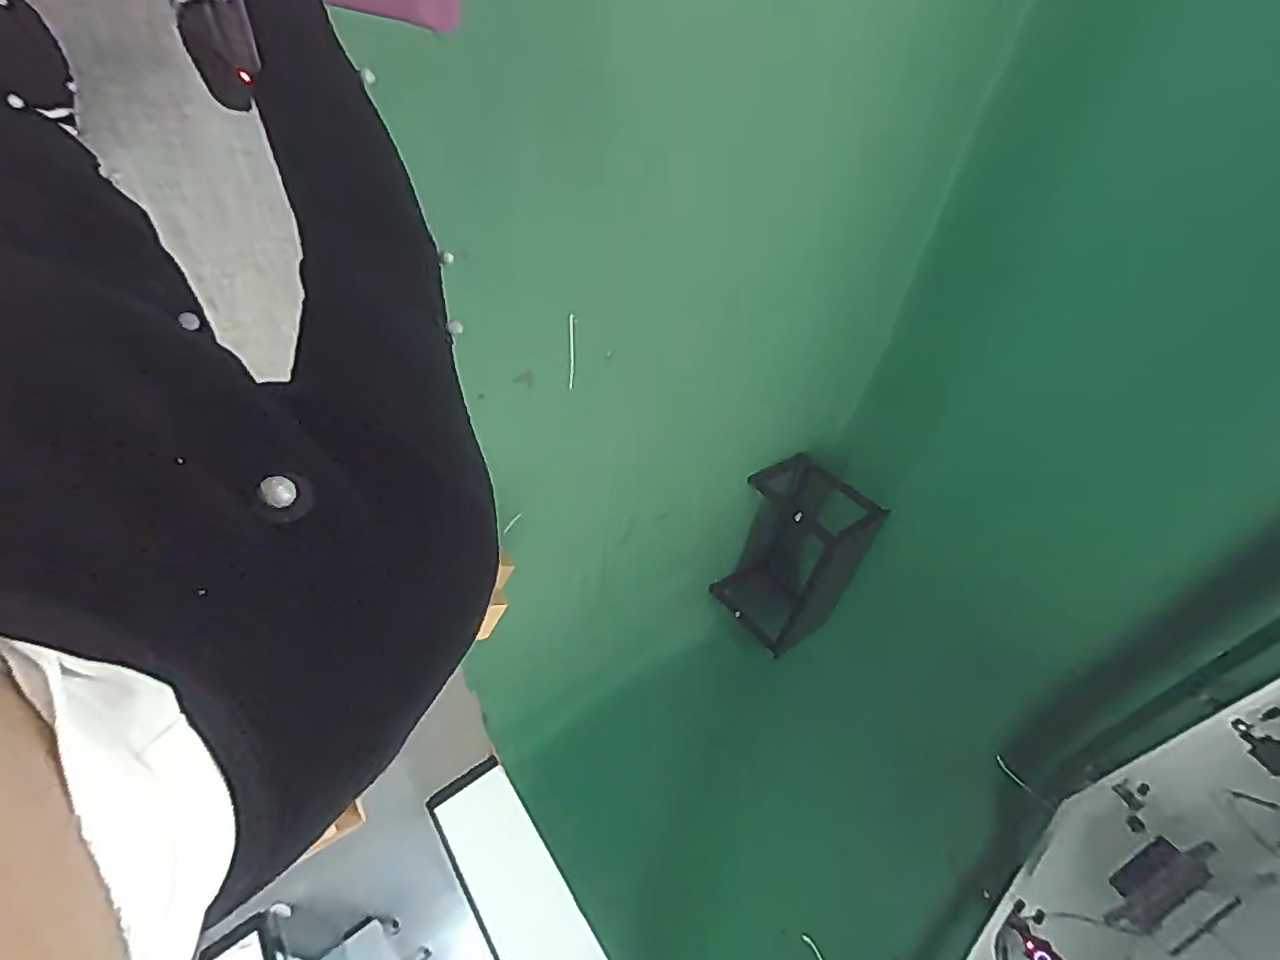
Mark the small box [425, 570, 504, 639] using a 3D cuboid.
[{"bbox_3d":[-0.619,0.431,1.899,0.179,0.176,0.168,13,115,-52],"label":"small box"}]
